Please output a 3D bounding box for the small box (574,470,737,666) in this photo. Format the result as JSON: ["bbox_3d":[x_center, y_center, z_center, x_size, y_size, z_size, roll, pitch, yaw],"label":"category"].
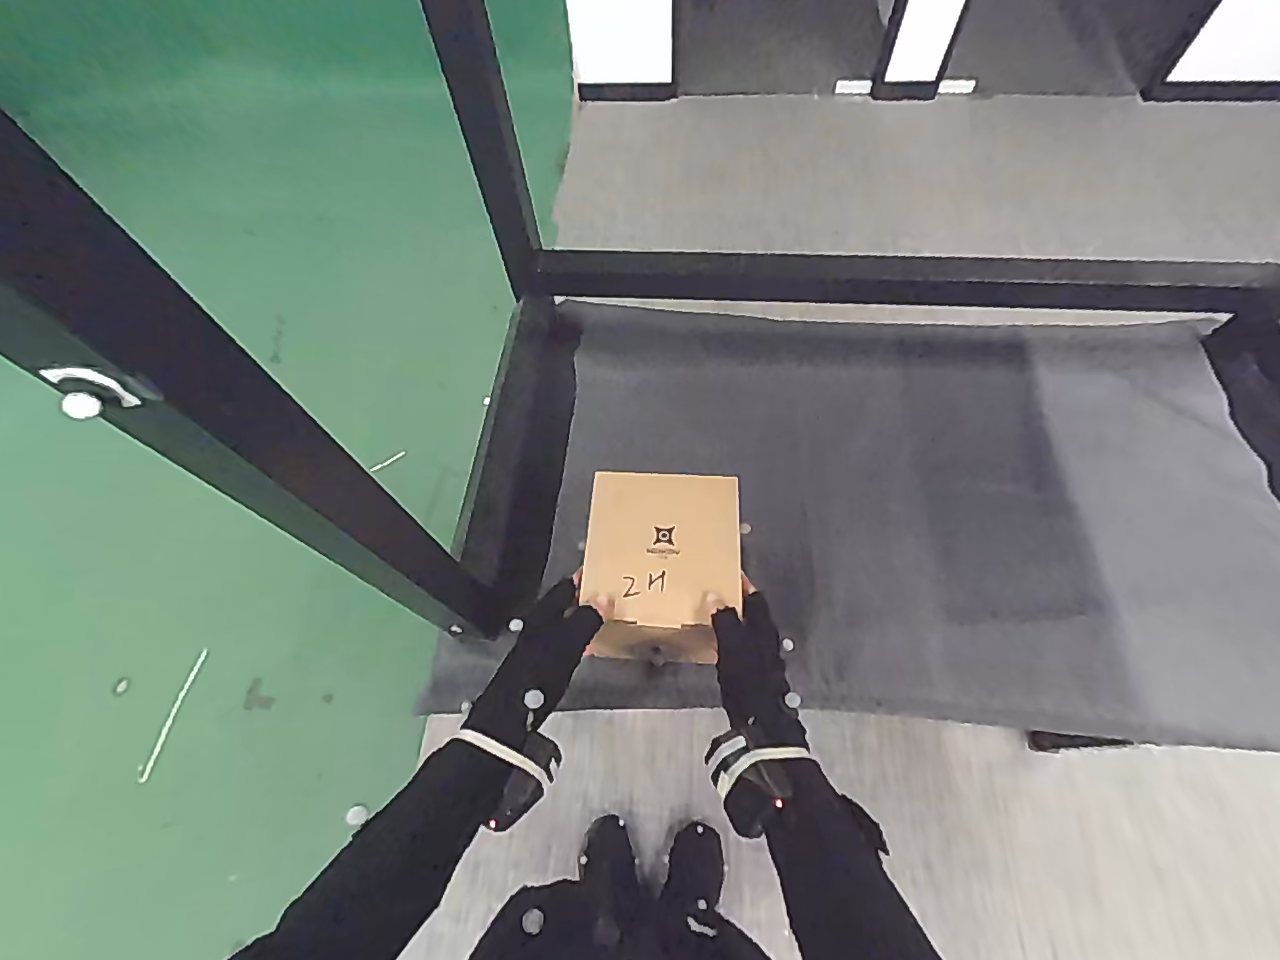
[{"bbox_3d":[0.023,0.108,0.644,0.168,0.176,0.179,2,59,4],"label":"small box"}]
